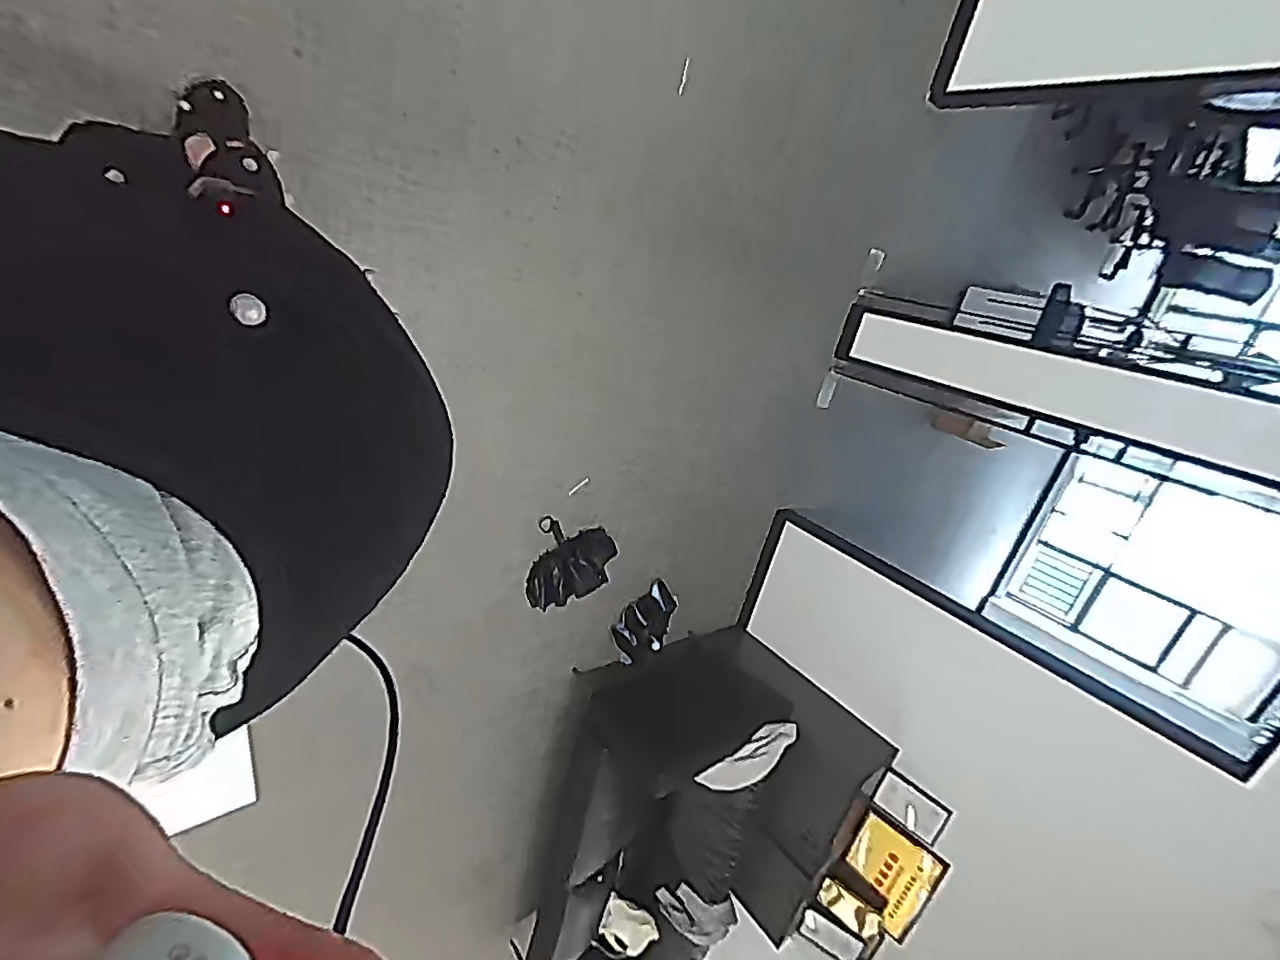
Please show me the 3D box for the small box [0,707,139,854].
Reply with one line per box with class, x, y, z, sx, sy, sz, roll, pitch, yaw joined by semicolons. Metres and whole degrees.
small box;-0.859;0.474;0.786;0.168;0.176;0.179;-14;125;-39
